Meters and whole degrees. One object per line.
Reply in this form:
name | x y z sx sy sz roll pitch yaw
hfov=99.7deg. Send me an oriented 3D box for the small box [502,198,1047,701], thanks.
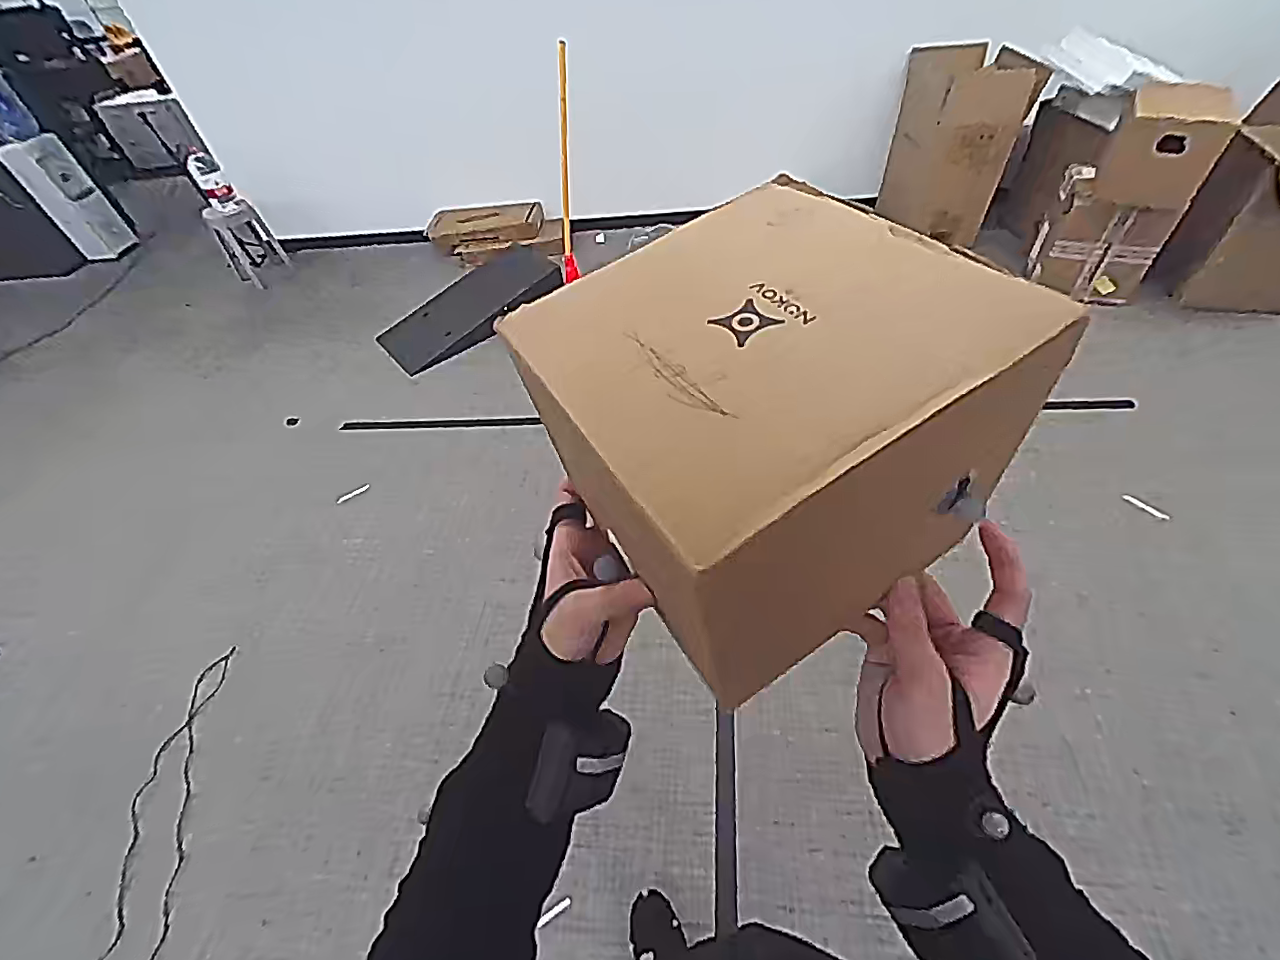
small box | 0.060 -0.013 0.299 0.179 0.176 0.168 -34 53 -11
